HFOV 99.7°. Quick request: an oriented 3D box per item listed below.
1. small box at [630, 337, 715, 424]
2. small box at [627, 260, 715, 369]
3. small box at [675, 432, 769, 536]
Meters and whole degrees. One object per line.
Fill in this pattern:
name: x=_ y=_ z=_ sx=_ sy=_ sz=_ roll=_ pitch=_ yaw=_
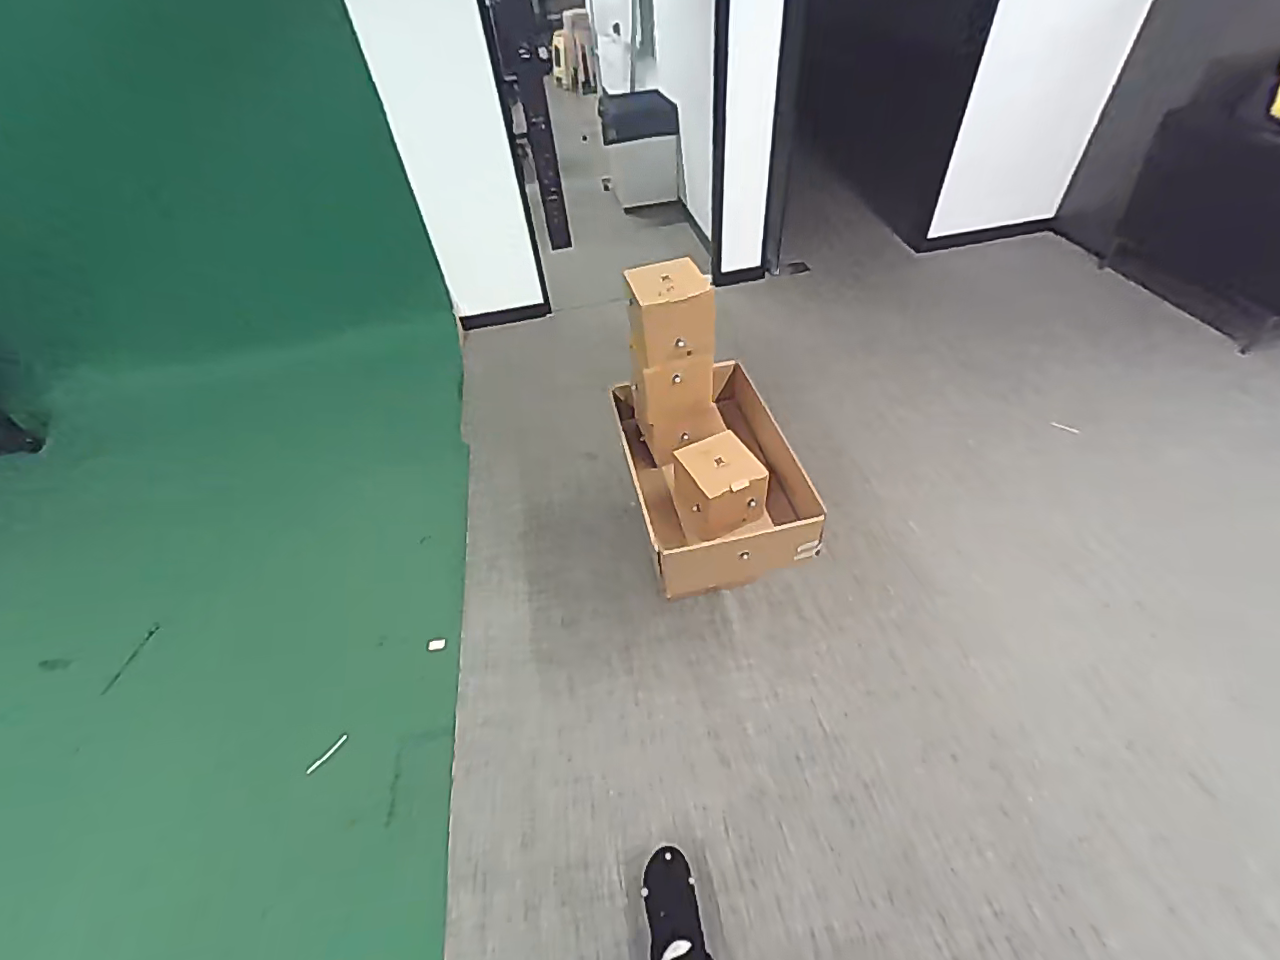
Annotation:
small box: x=0.083 y=-0.272 z=1.397 sx=0.179 sy=0.176 sz=0.168 roll=-16 pitch=48 yaw=-7
small box: x=0.072 y=-0.392 z=1.284 sx=0.168 sy=0.176 sz=0.179 roll=-15 pitch=48 yaw=-5
small box: x=0.200 y=0.016 z=1.343 sx=0.168 sy=0.176 sz=0.179 roll=-21 pitch=48 yaw=-14
